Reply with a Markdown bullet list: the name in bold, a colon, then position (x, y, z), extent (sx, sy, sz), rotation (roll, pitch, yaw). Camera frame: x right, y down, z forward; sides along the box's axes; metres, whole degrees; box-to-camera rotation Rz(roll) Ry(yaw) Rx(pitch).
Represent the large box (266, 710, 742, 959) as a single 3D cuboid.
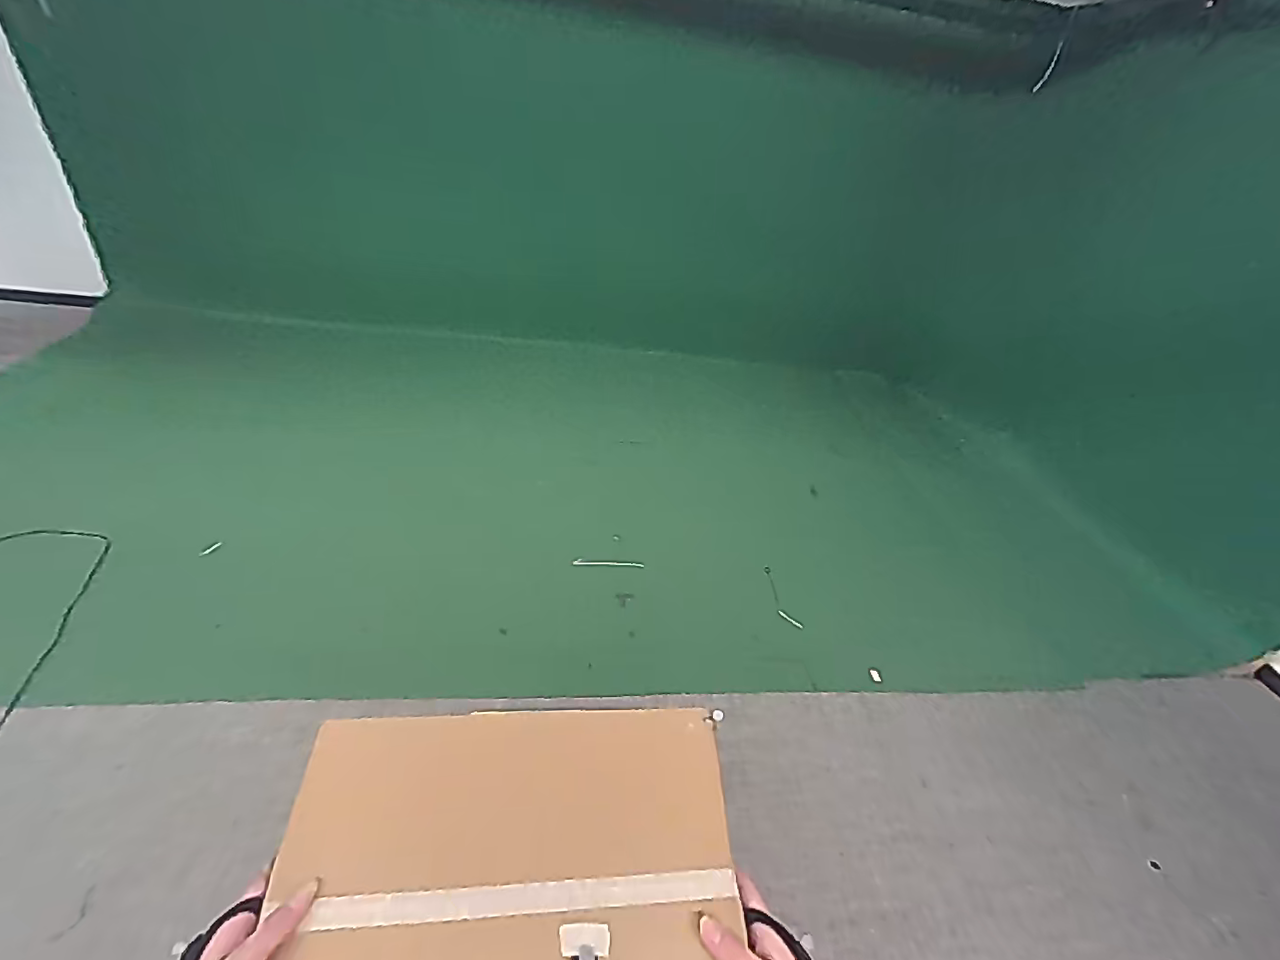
- **large box**: position (-0.127, 0.473, 0.593), extent (0.408, 0.320, 0.320), rotation (1, 48, -7)
